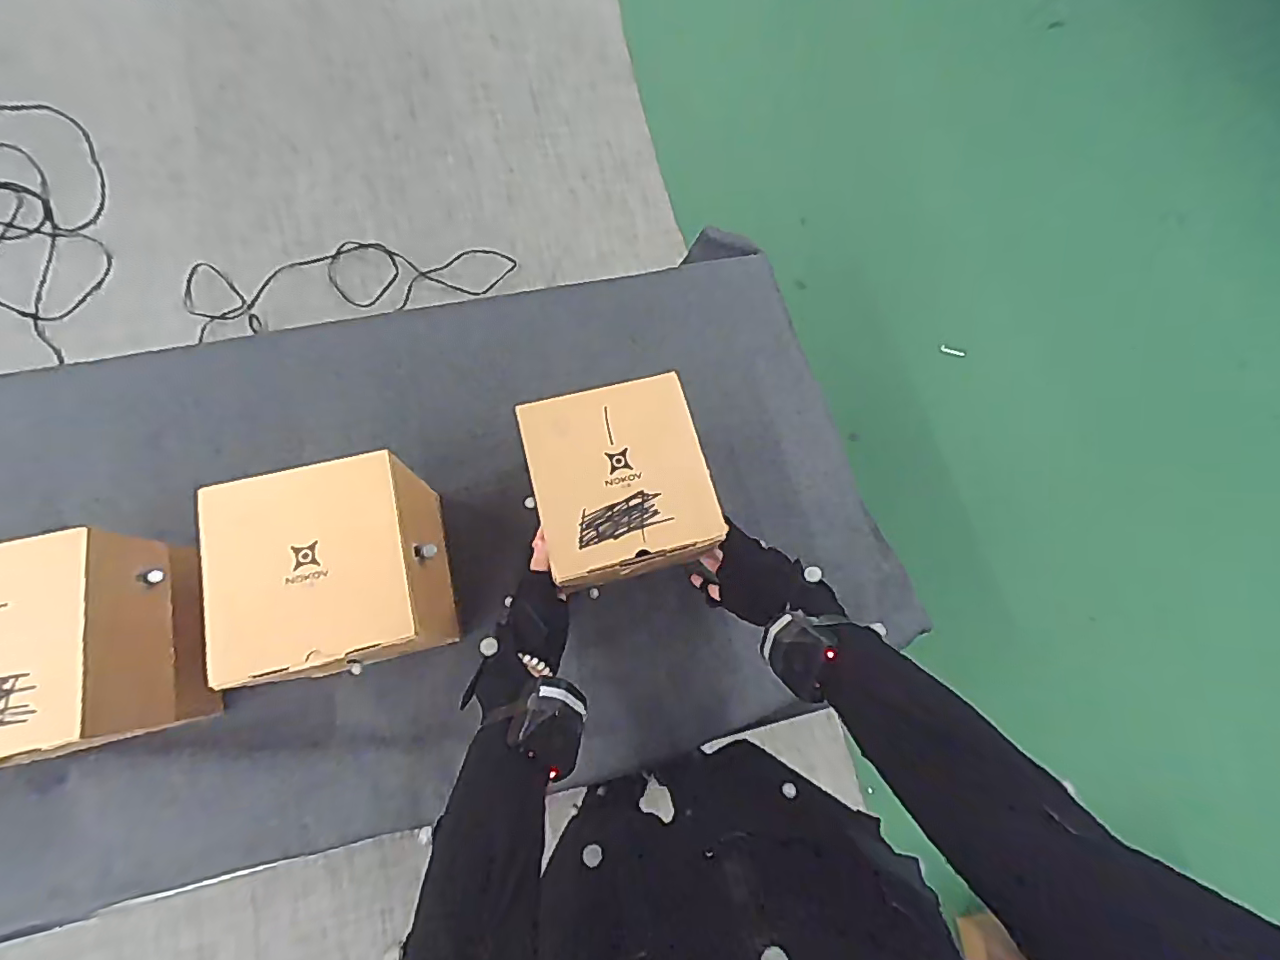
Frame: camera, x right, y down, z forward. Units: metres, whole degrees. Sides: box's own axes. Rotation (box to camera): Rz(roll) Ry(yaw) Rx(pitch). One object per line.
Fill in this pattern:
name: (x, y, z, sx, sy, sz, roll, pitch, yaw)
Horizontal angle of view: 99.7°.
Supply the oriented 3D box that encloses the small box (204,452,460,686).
small box: (-0.293, 0.092, 0.545, 0.168, 0.176, 0.179, -13, 76, -9)
